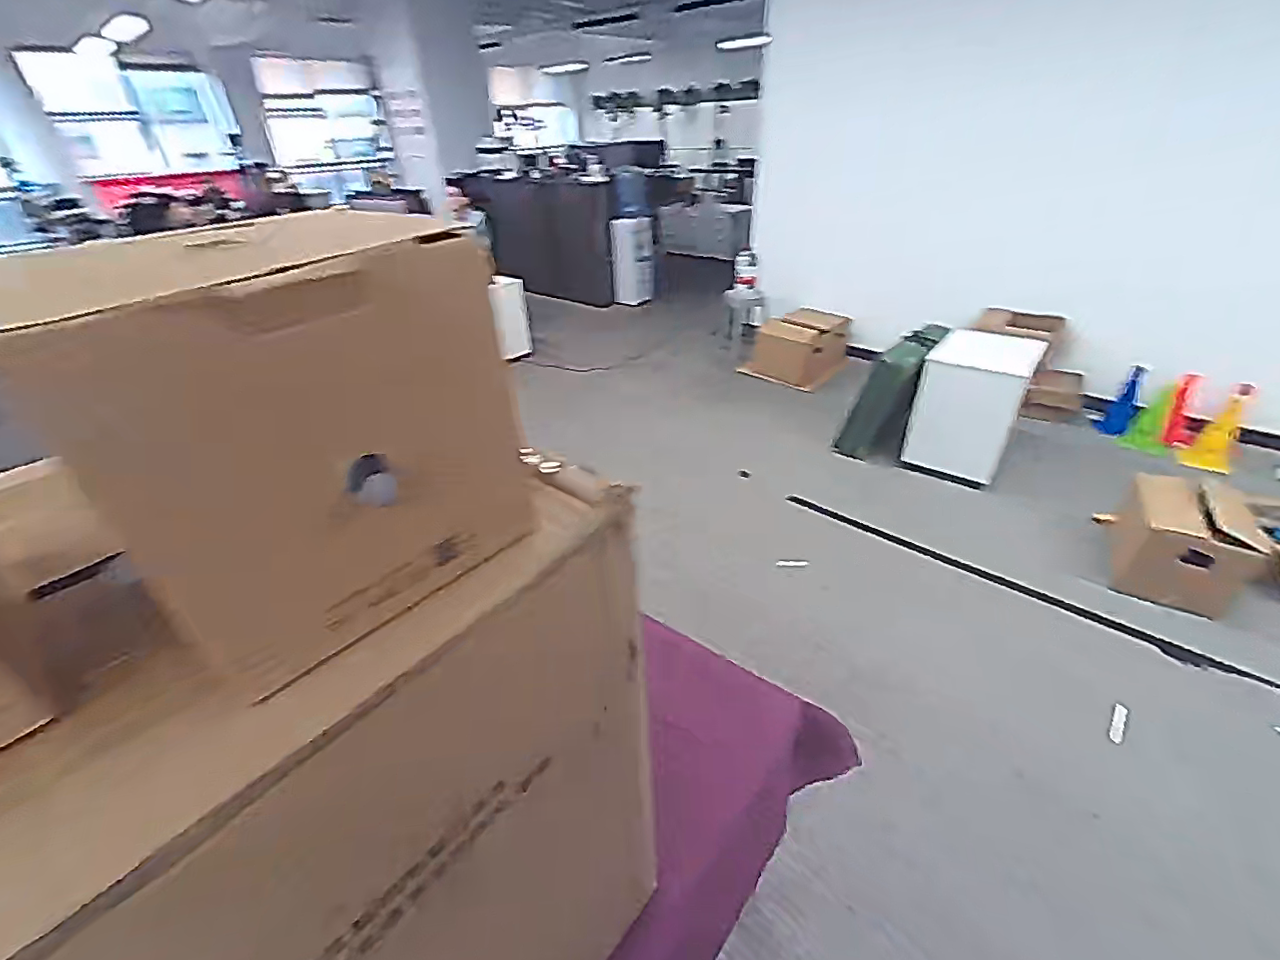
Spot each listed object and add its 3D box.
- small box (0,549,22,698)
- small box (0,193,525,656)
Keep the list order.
[{"bbox_3d":[-0.363,0.039,0.173,0.168,0.176,0.179,23,41,34],"label":"small box"},{"bbox_3d":[-0.182,-0.040,0.282,0.179,0.176,0.168,25,43,35],"label":"small box"}]
